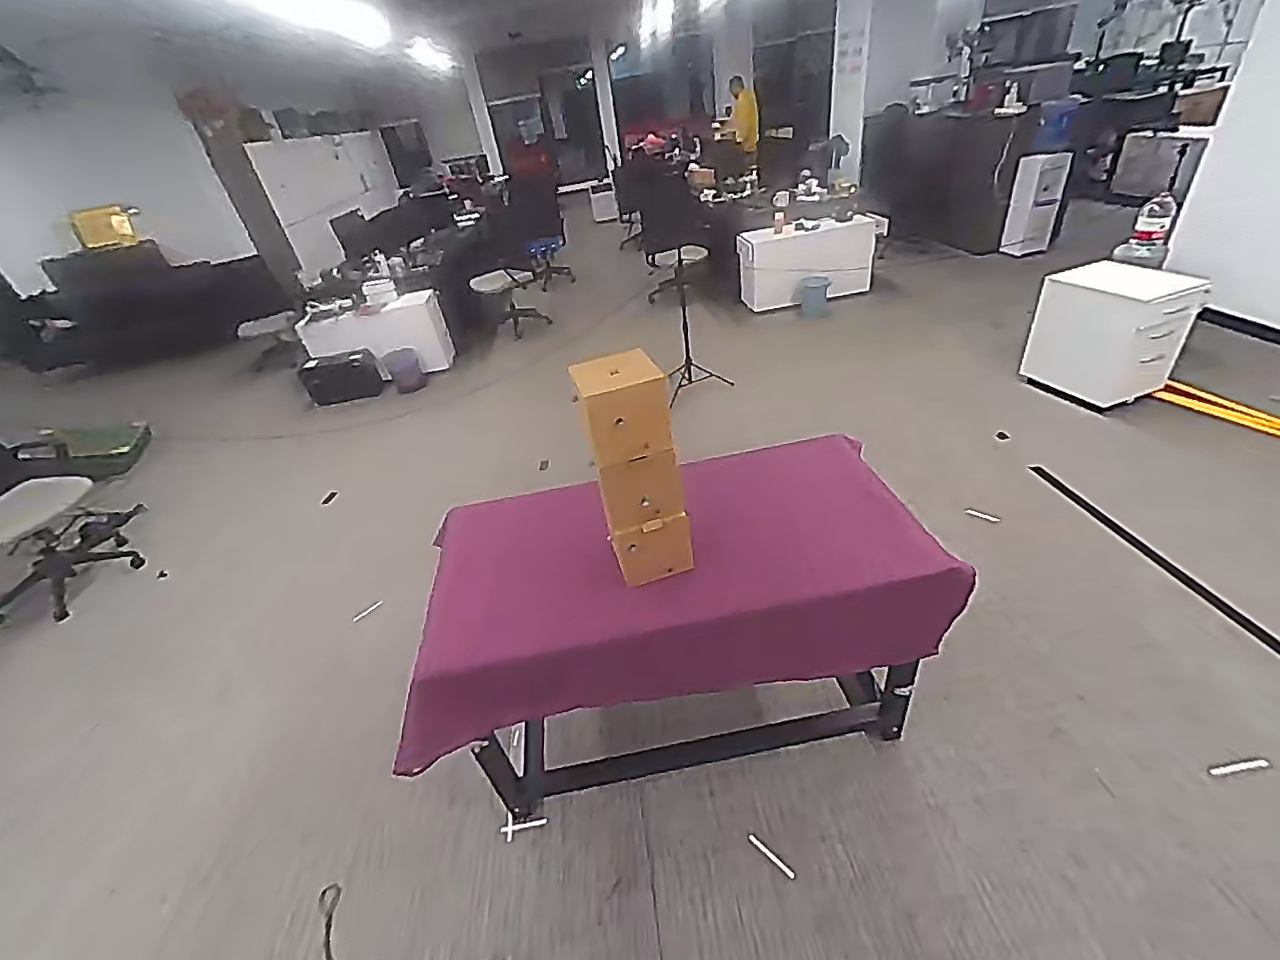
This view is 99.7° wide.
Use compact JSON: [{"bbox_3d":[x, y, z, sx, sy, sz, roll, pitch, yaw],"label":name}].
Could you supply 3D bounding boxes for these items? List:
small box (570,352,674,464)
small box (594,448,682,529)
[{"bbox_3d":[-0.036,-0.147,1.137,0.168,0.176,0.179,-16,33,-9],"label":"small box"},{"bbox_3d":[-0.010,-0.016,1.231,0.168,0.176,0.179,-15,34,-6],"label":"small box"}]
